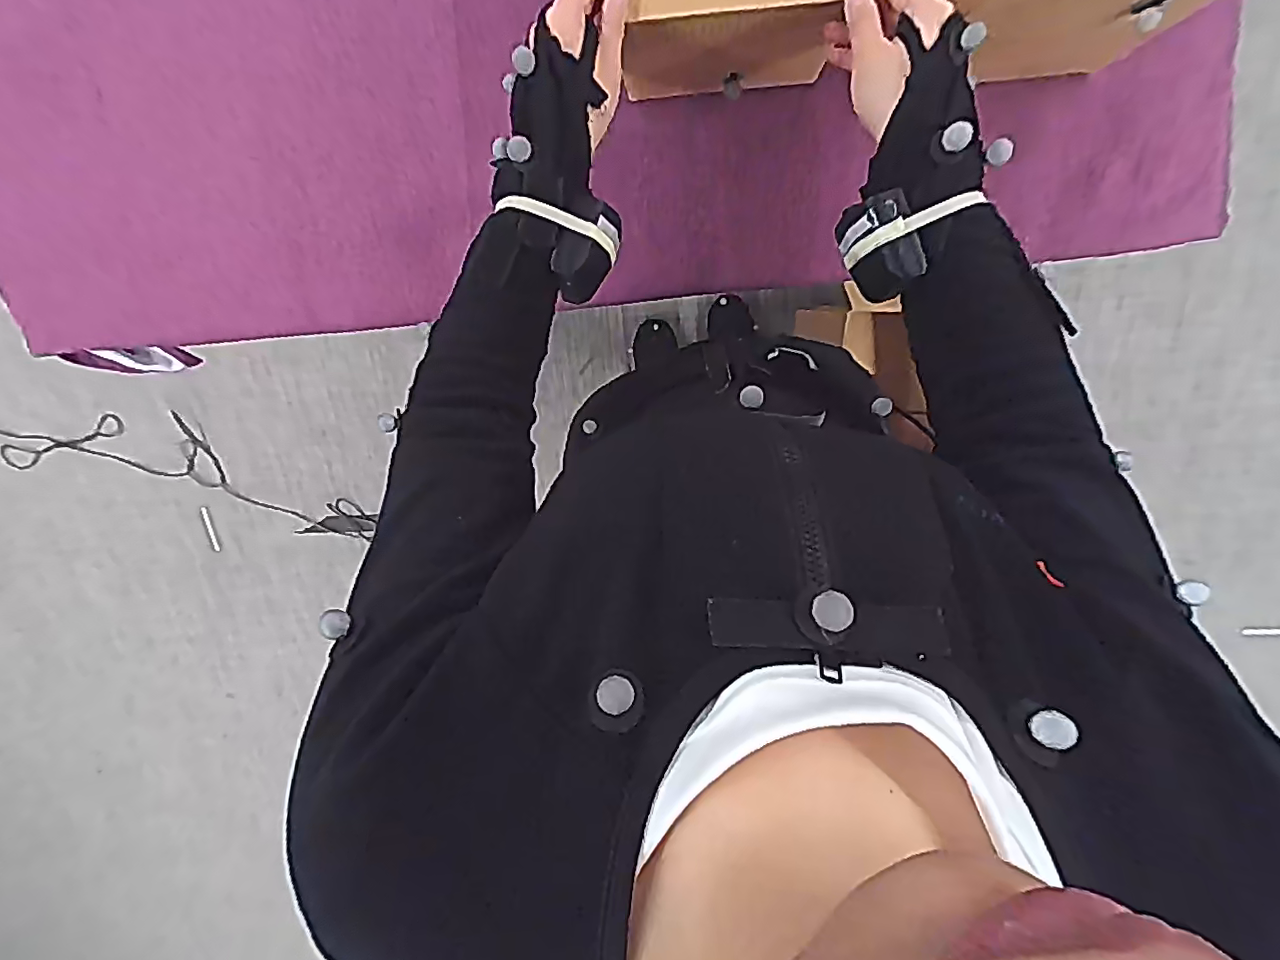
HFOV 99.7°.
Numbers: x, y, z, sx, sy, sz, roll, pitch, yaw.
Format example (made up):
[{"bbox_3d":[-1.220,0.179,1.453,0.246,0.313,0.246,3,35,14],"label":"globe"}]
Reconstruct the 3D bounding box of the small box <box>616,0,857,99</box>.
[{"bbox_3d":[0.069,-0.423,0.413,0.179,0.176,0.168,-1,108,7],"label":"small box"}]

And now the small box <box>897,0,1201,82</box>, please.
[{"bbox_3d":[0.314,-0.422,0.394,0.179,0.176,0.168,-2,107,5],"label":"small box"}]
